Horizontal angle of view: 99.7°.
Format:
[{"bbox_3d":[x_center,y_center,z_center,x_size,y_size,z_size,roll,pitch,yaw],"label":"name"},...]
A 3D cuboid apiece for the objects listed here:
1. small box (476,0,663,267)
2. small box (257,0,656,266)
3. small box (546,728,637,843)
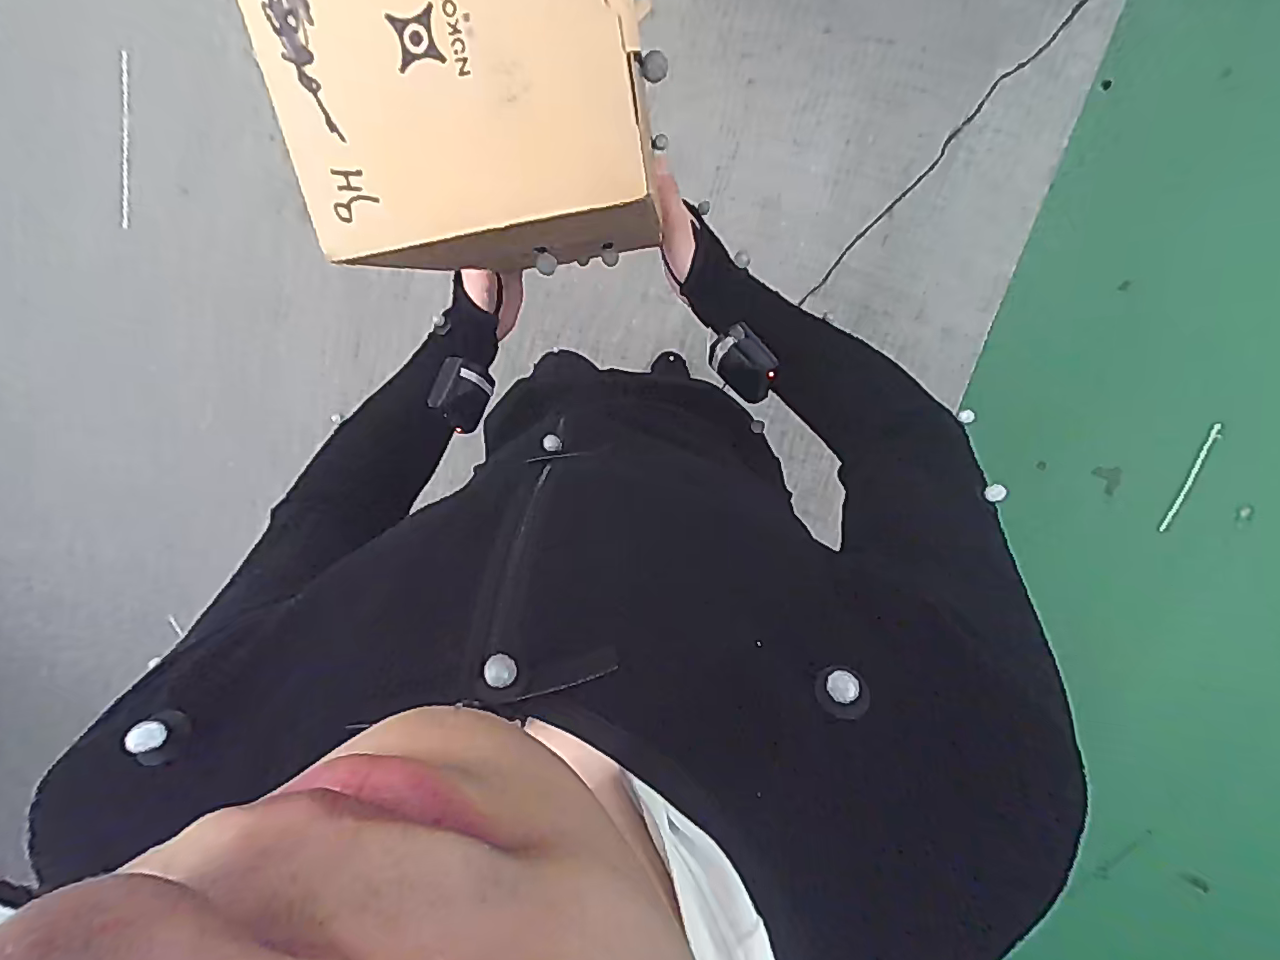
[{"bbox_3d":[-0.073,-0.290,0.483,0.179,0.176,0.168,-6,108,7],"label":"small box"},{"bbox_3d":[-0.085,-0.232,0.330,0.179,0.176,0.168,-7,108,7],"label":"small box"},{"bbox_3d":[-0.118,0.787,1.409,0.179,0.176,0.168,22,103,1],"label":"small box"}]
